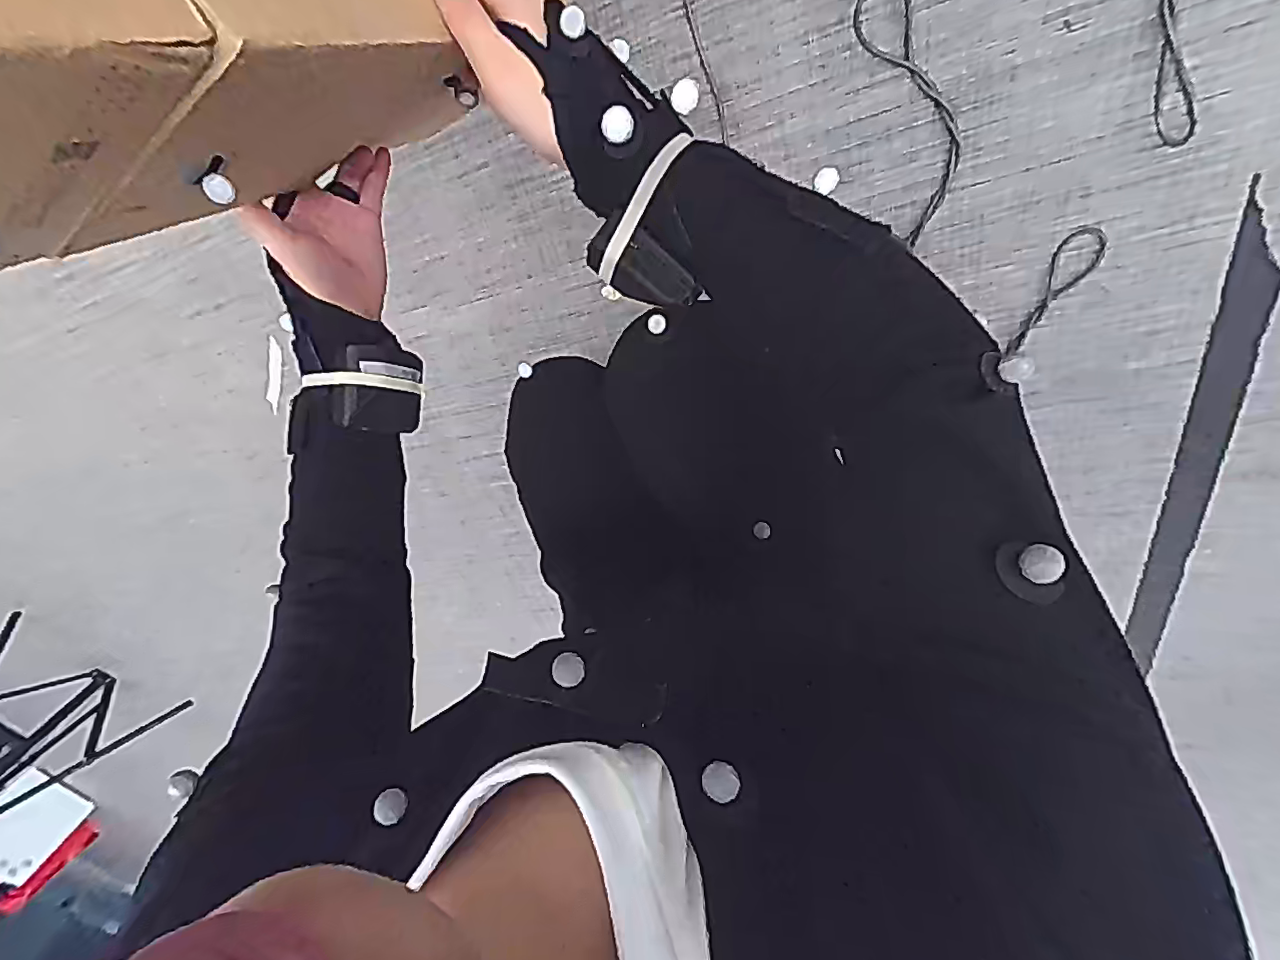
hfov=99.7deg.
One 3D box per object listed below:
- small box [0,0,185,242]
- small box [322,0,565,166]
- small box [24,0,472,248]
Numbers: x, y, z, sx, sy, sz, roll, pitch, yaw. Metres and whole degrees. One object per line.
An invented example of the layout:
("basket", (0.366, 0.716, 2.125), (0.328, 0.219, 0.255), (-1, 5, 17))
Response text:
("small box", (-0.259, -0.136, 0.103), (0.168, 0.176, 0.179), (-14, 123, 29))
("small box", (-0.168, -0.335, 0.346), (0.179, 0.176, 0.168), (-10, 124, 28))
("small box", (-0.209, -0.230, 0.226), (0.179, 0.176, 0.168), (-13, 123, 28))
